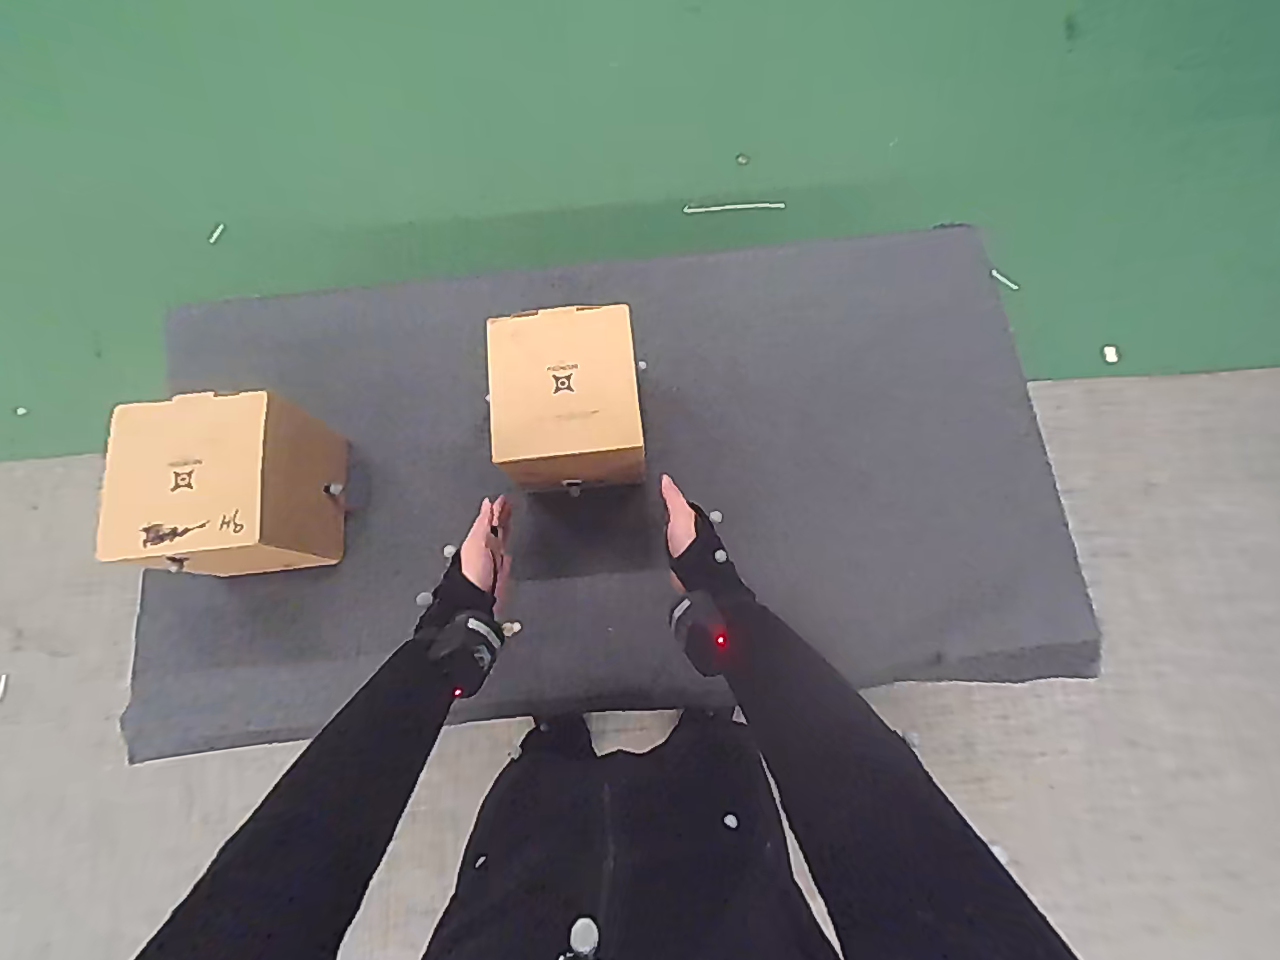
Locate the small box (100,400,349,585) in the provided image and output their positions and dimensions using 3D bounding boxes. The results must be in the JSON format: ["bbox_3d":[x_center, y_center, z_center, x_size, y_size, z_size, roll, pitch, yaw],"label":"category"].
[{"bbox_3d":[-0.474,0.024,0.649,0.168,0.176,0.179,-7,75,-1],"label":"small box"}]

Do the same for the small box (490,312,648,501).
[{"bbox_3d":[-0.081,-0.082,0.676,0.168,0.176,0.179,-7,77,0],"label":"small box"}]
